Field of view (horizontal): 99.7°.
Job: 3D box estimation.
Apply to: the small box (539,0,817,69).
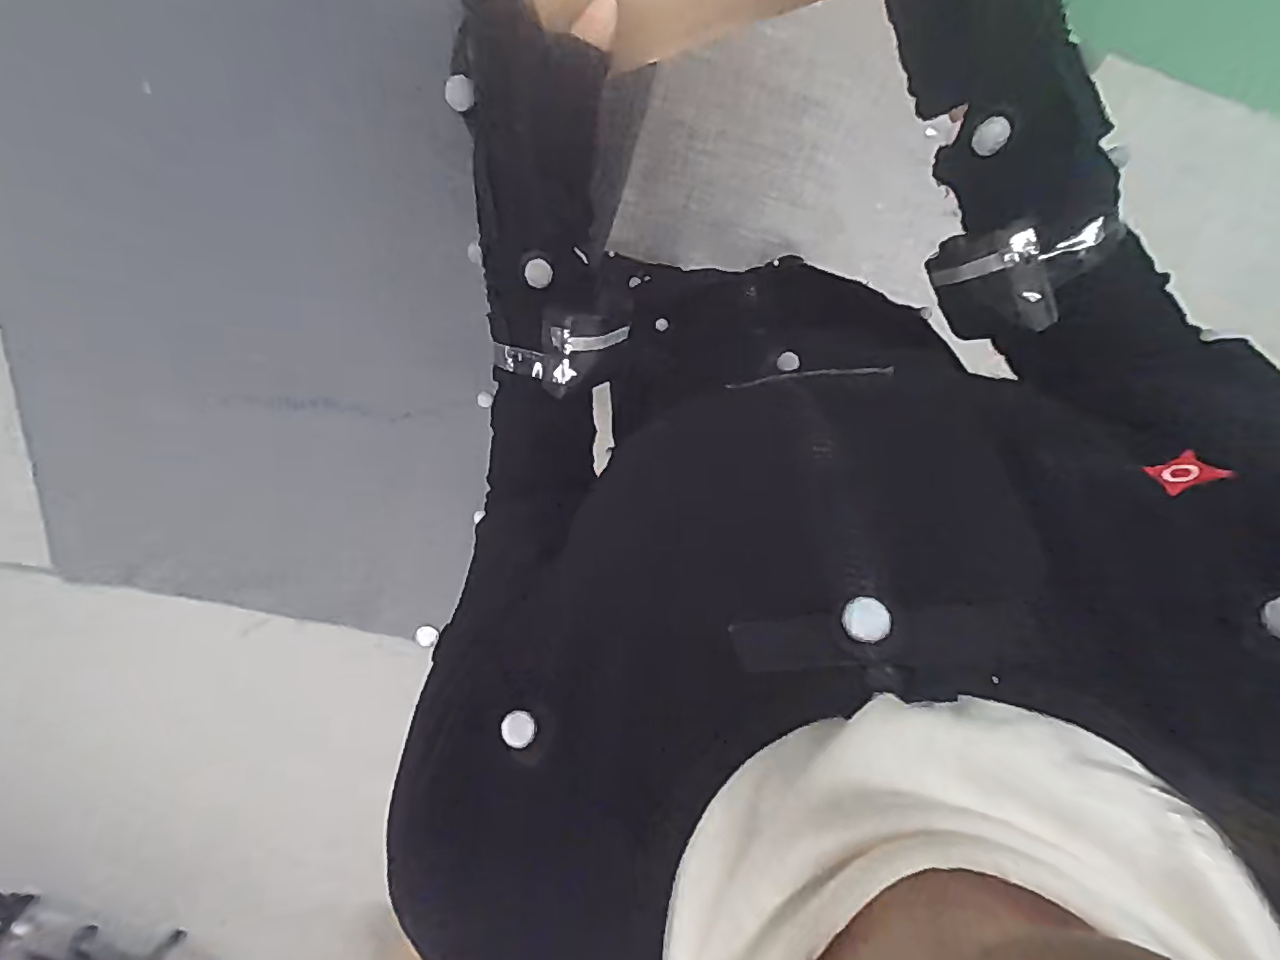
[{"bbox_3d":[0.018,-0.333,0.234,0.179,0.176,0.168,-11,152,7],"label":"small box"}]
